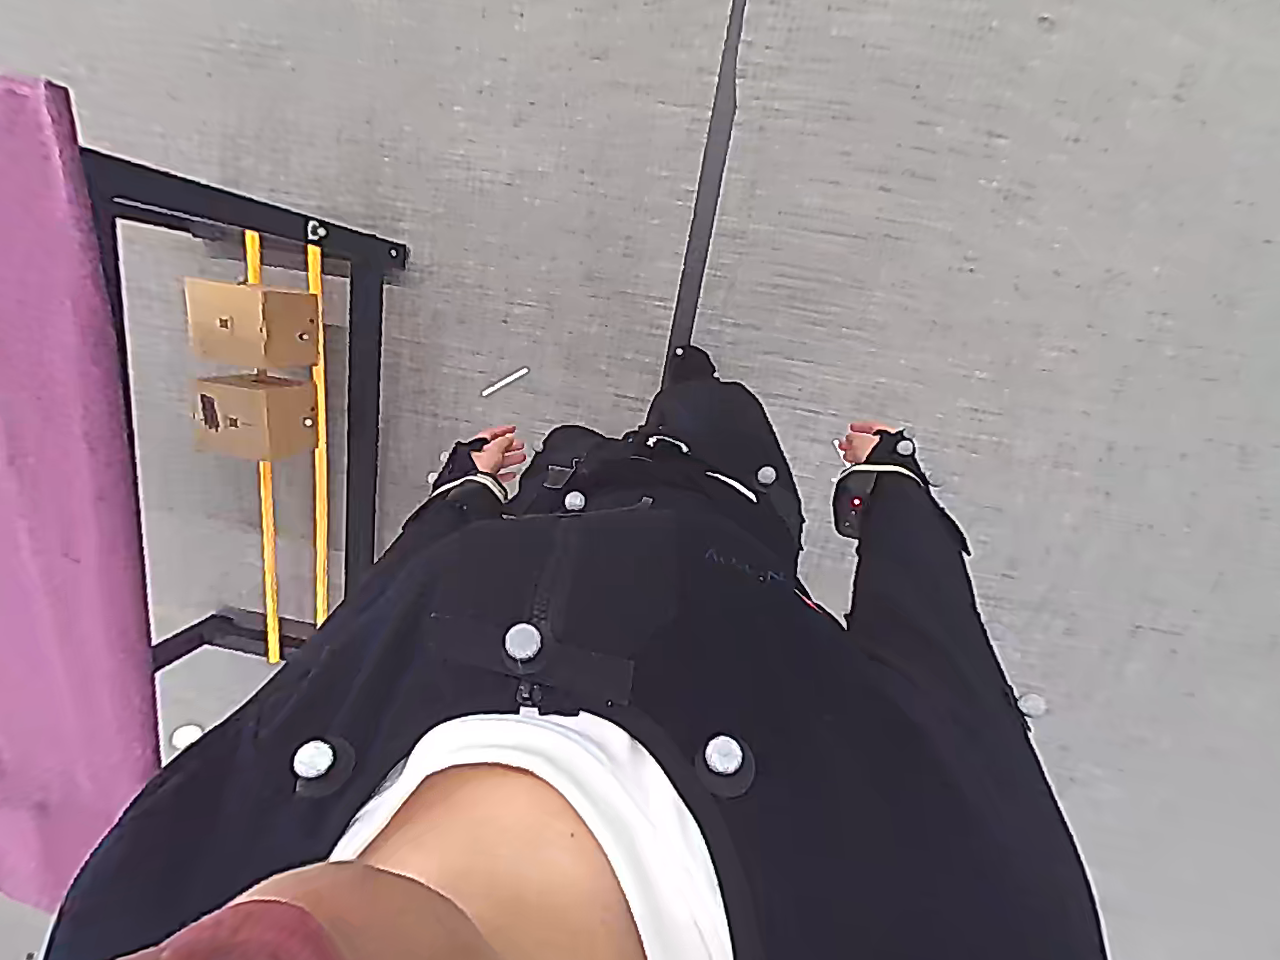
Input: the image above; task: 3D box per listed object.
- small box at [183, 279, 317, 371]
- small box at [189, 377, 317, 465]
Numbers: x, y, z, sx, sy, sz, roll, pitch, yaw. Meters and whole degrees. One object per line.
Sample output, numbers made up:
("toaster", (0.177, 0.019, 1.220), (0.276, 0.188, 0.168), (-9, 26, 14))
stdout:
("small box", (-0.854, -0.340, 1.197), (0.179, 0.176, 0.168), (9, 105, 4))
("small box", (-0.888, -0.144, 1.253), (0.179, 0.176, 0.168), (9, 106, 3))
